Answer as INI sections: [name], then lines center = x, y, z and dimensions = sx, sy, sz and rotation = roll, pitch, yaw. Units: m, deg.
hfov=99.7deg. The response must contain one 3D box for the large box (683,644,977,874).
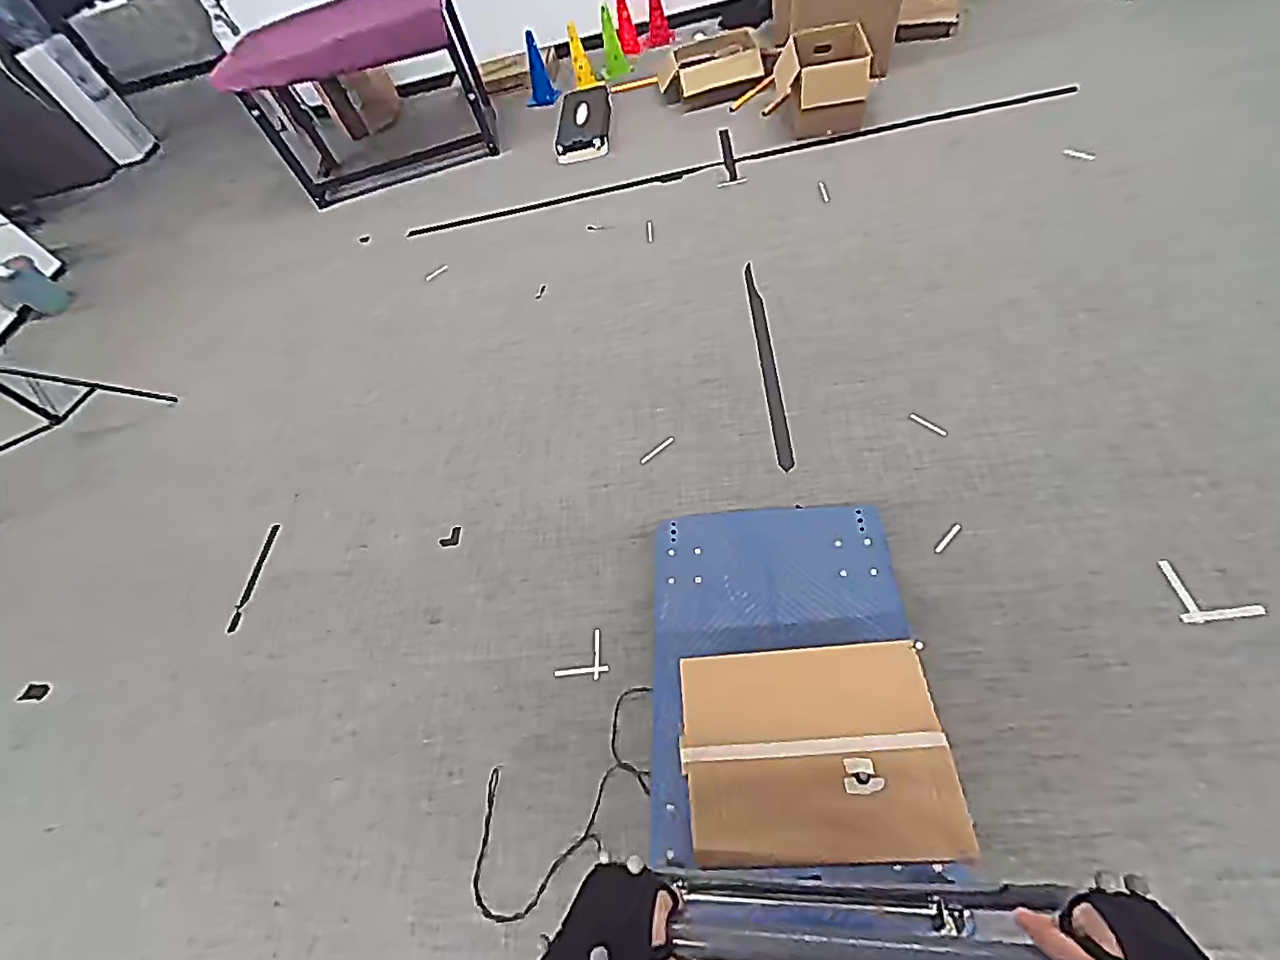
[large box]
center = 0.302, 0.517, 0.990
dimensions = 0.408, 0.320, 0.320
rotation = -7, 56, 7
